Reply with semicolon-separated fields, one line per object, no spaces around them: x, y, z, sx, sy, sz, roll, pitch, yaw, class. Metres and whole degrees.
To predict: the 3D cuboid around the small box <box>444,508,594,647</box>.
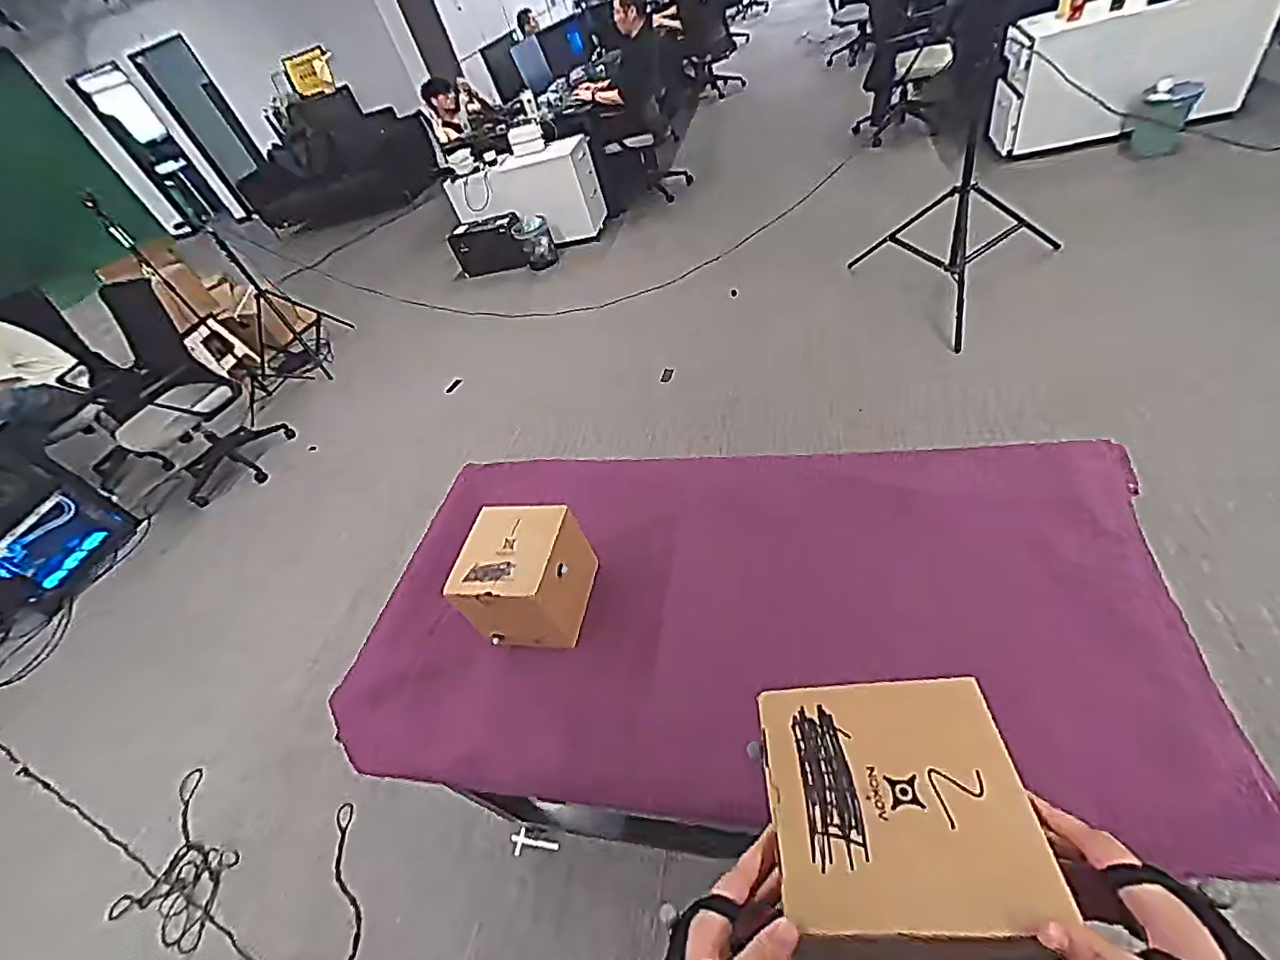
-0.191;0.167;0.917;0.168;0.176;0.179;-2;47;18;small box
